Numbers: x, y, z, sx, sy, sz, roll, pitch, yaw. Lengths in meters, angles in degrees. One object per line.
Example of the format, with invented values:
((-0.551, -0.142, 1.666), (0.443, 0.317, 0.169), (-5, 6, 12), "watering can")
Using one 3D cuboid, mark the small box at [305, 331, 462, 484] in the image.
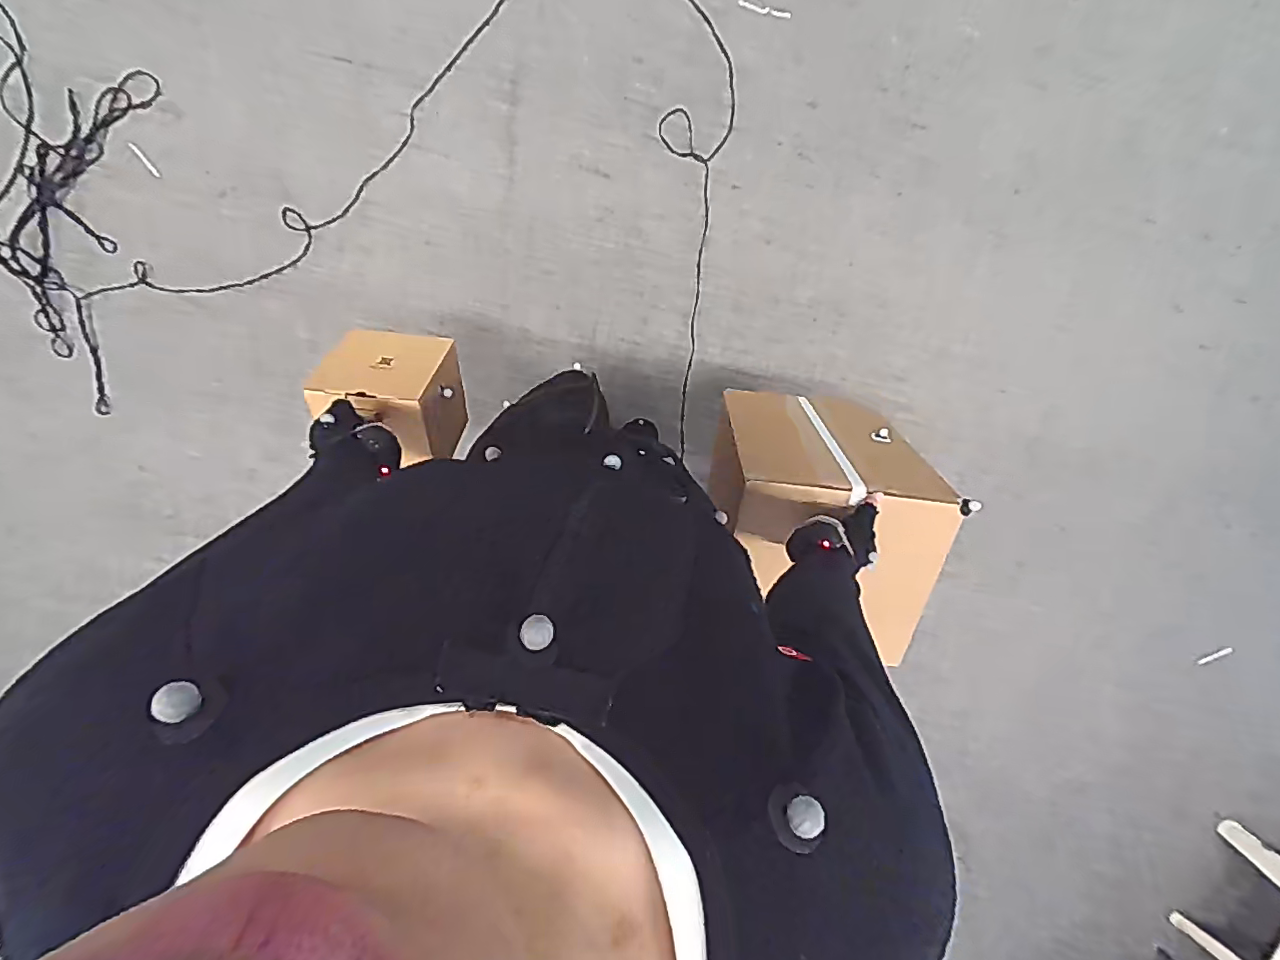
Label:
((-0.398, -0.118, 0.880), (0.168, 0.179, 0.176), (5, 135, -2), "small box")
